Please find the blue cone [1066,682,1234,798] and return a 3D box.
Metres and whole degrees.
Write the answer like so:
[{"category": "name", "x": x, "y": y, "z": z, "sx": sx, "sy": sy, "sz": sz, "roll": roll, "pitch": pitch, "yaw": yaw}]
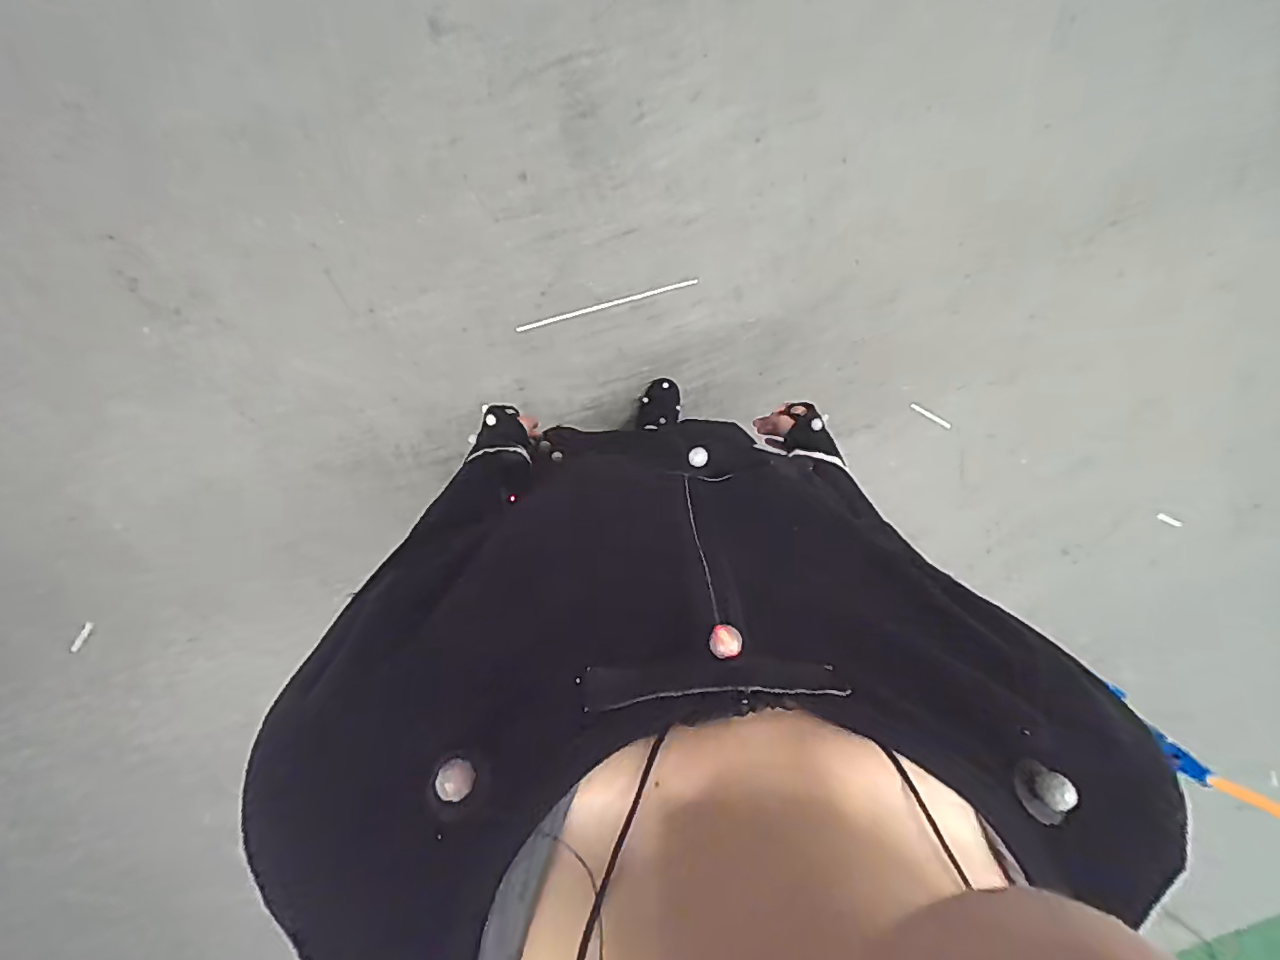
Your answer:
[{"category": "blue cone", "x": 1.486, "y": 0.775, "z": 1.571, "sx": 0.192, "sy": 0.380, "sz": 0.193, "roll": 29, "pitch": 94, "yaw": -8}]
